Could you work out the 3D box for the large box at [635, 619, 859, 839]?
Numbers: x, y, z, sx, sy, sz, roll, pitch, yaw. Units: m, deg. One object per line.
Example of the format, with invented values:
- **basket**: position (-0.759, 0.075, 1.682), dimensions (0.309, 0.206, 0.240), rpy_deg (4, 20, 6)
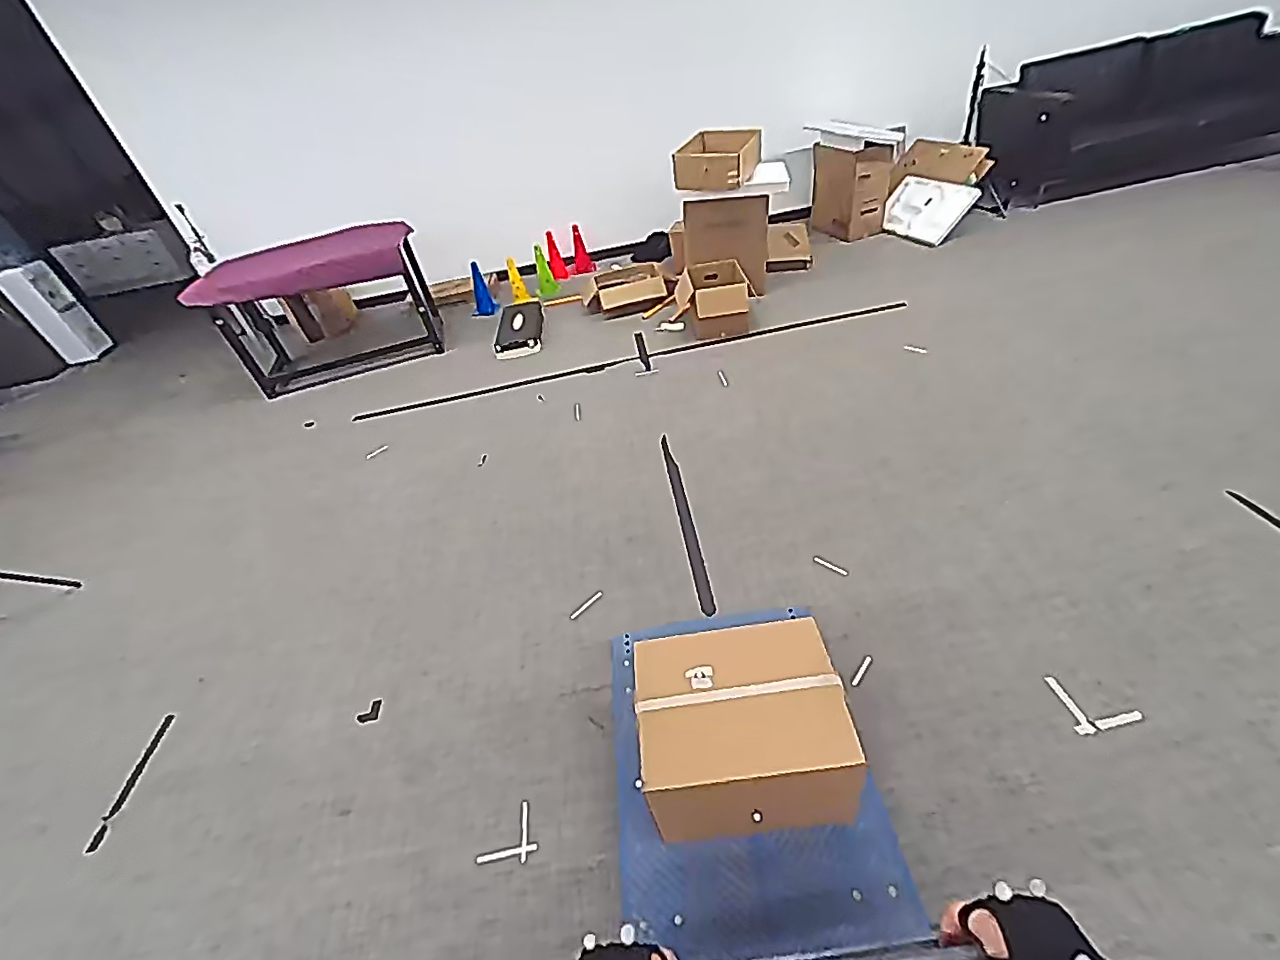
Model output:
- **large box**: position (0.220, 0.553, 1.198), dimensions (0.408, 0.320, 0.320), rpy_deg (-10, 39, 3)
